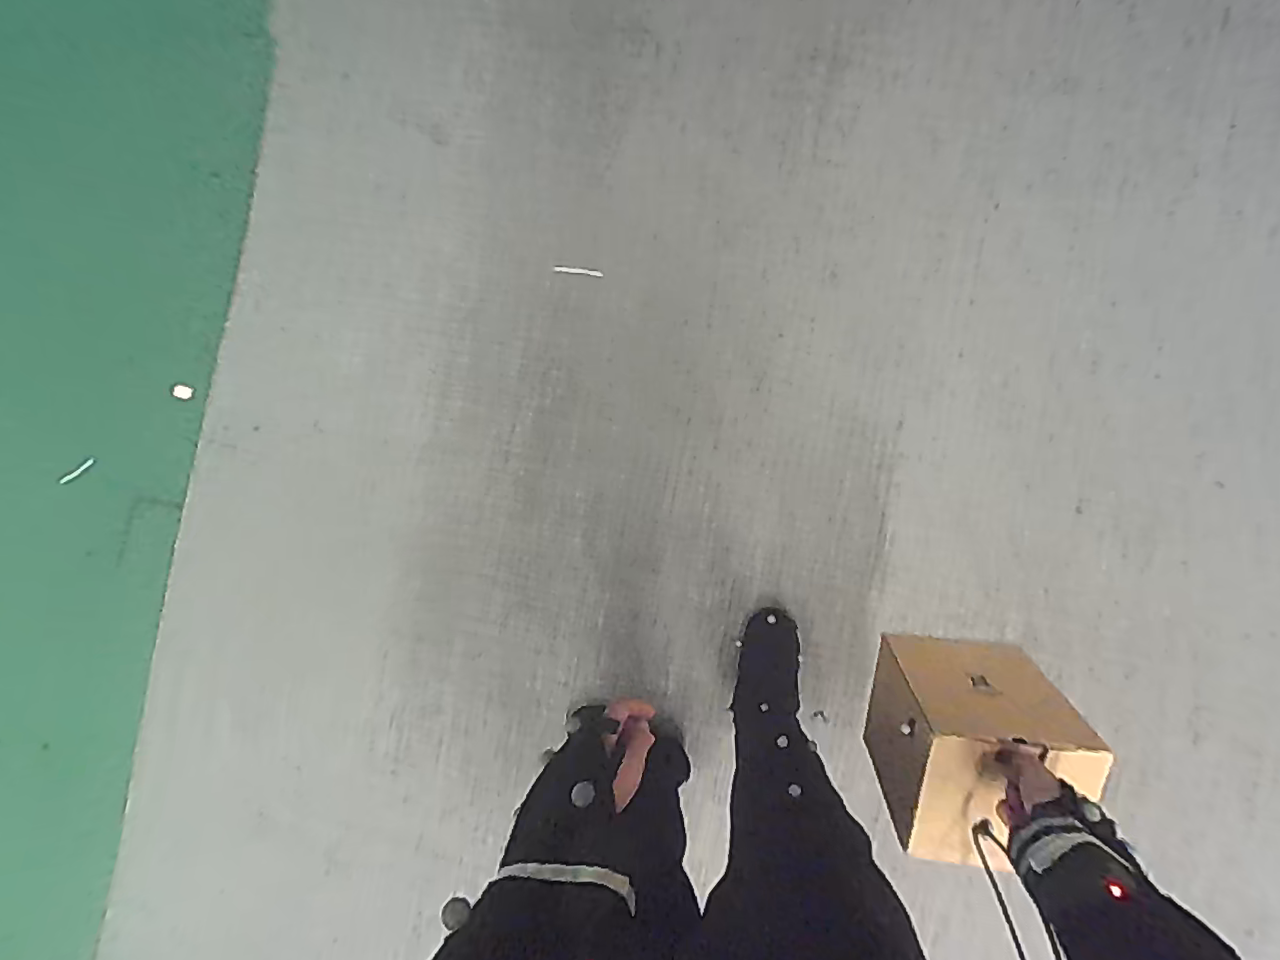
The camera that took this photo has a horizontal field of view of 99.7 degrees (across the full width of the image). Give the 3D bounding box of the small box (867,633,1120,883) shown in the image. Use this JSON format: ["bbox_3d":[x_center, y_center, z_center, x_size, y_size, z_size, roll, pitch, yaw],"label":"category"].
[{"bbox_3d":[0.374,0.303,0.616,0.168,0.179,0.176,5,109,6],"label":"small box"}]
